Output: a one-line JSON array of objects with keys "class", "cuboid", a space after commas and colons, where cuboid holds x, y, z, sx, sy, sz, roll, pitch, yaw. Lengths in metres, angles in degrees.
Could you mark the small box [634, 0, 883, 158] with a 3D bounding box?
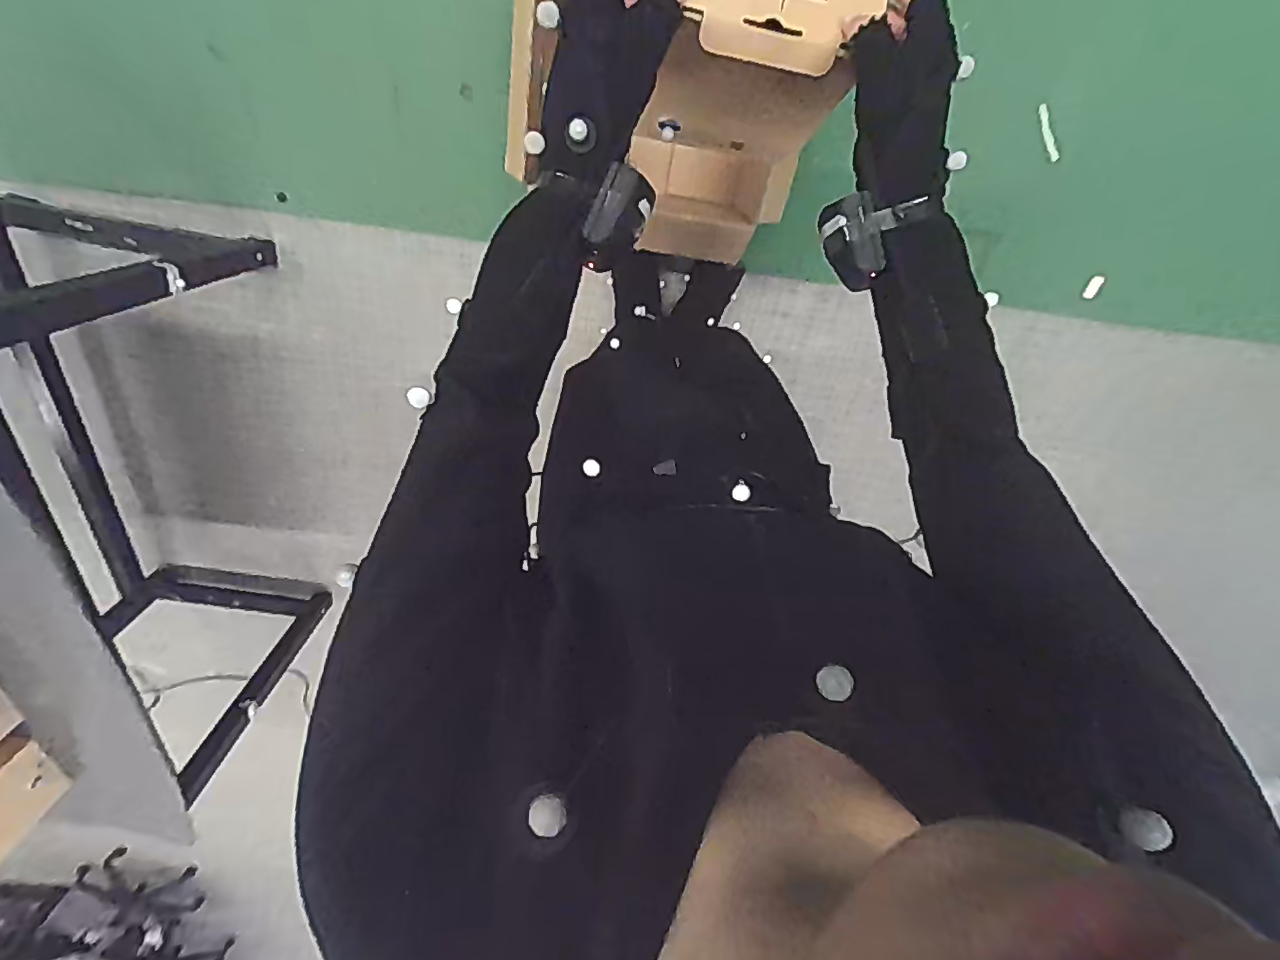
[{"class": "small box", "cuboid": [0.091, -0.408, 0.455, 0.168, 0.176, 0.179, 6, 94, -8]}]
